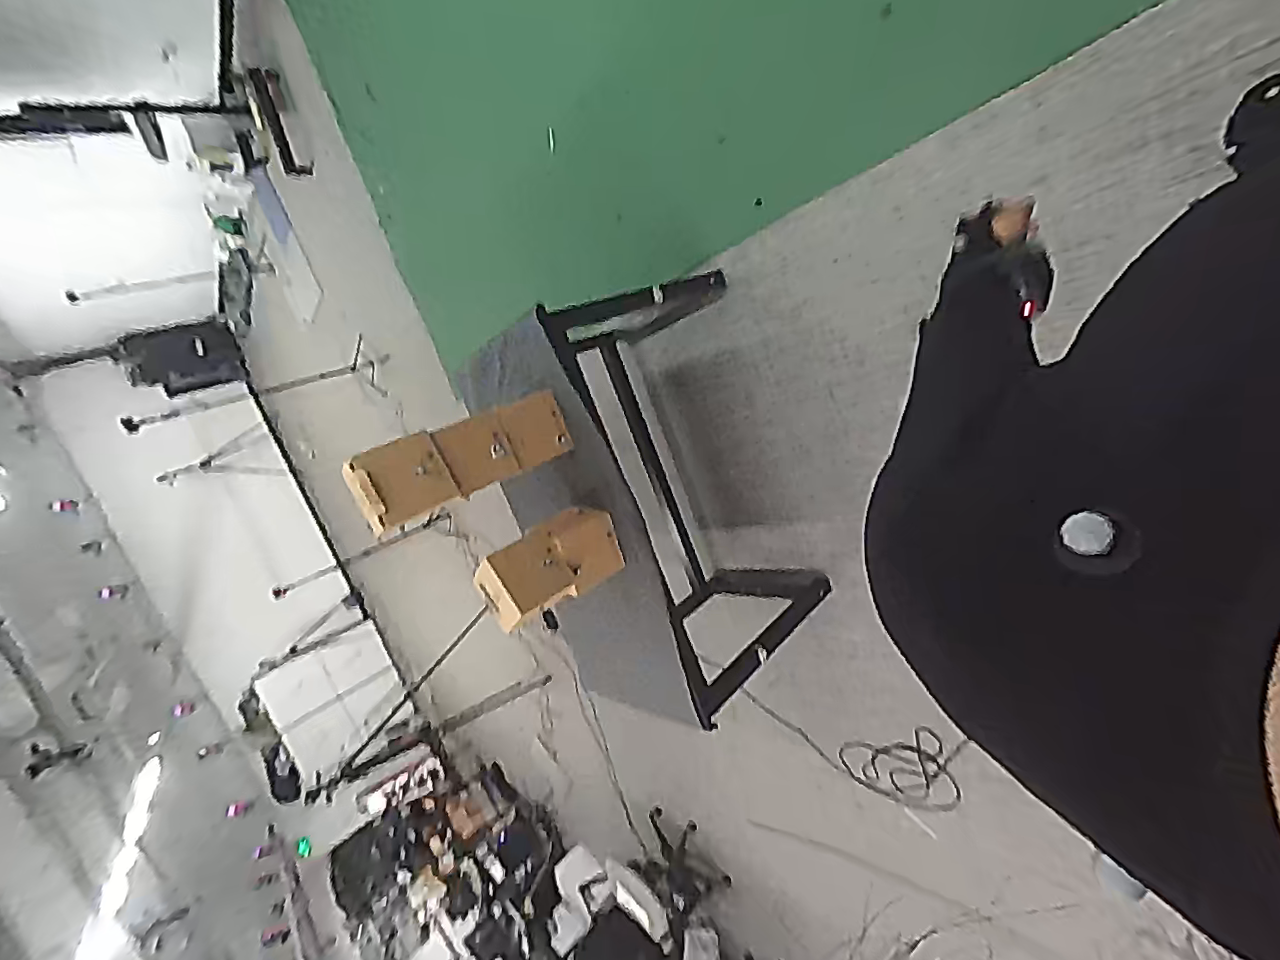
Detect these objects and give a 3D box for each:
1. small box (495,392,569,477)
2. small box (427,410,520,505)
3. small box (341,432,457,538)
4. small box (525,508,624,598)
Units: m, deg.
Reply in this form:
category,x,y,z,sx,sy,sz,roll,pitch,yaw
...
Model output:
category,x,y,z,sx,sy,sz,roll,pitch,yaw
small box,-0.303,-0.114,1.393,0.179,0.176,0.168,-8,107,54
small box,-0.416,-0.051,1.295,0.179,0.176,0.168,-15,103,53
small box,-0.530,0.012,1.192,0.179,0.176,0.168,-20,99,54
small box,-0.171,0.185,1.432,0.179,0.176,0.168,4,116,50
